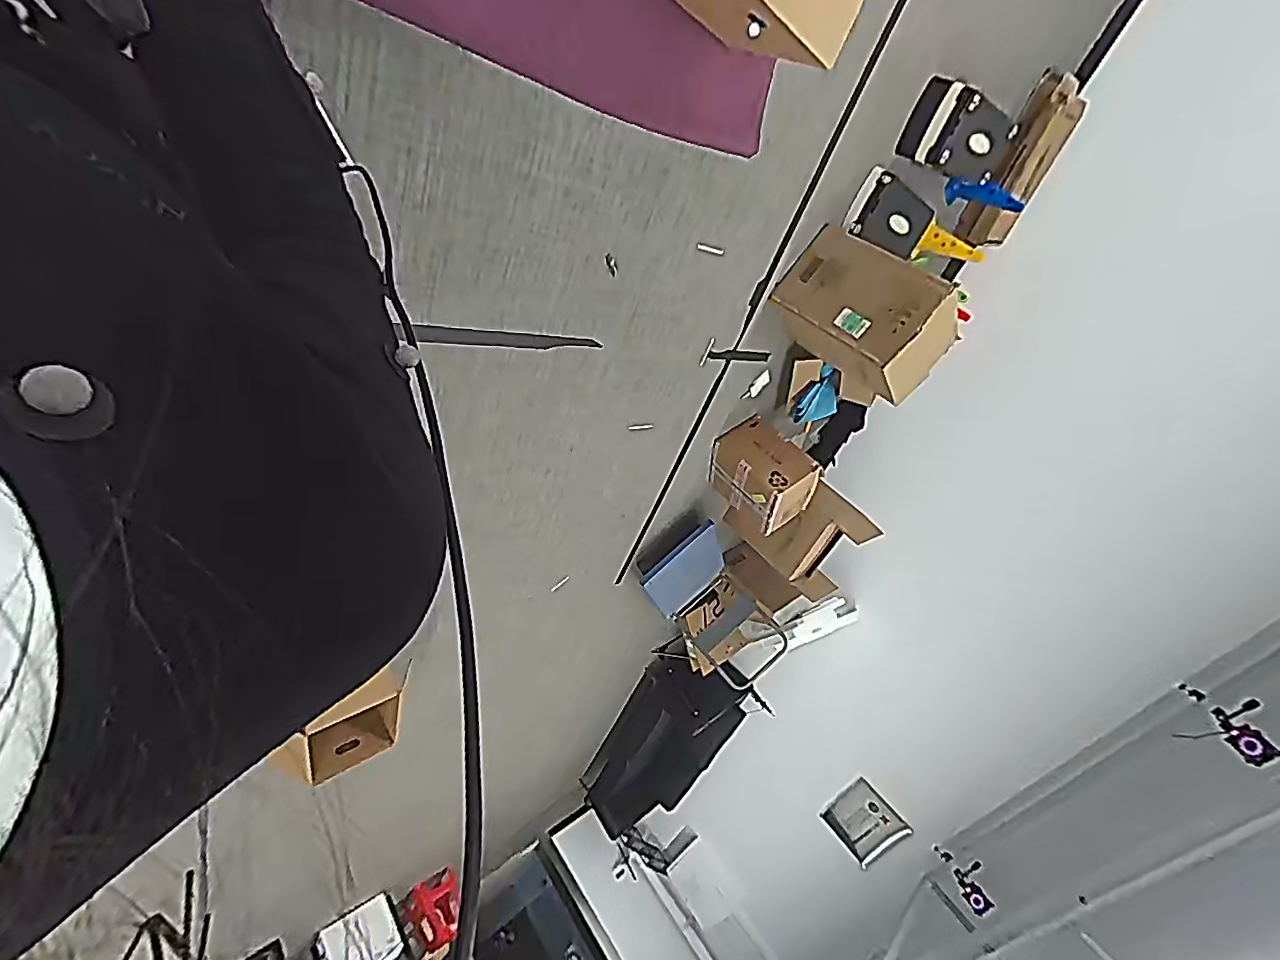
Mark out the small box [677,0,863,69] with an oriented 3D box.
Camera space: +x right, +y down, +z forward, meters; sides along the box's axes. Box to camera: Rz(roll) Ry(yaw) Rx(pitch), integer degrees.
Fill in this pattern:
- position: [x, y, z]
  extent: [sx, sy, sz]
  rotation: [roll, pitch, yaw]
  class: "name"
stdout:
- position: [0.135, -0.567, 0.554]
  extent: [0.179, 0.176, 0.168]
  rotation: [-9, 133, -47]
  class: "small box"
